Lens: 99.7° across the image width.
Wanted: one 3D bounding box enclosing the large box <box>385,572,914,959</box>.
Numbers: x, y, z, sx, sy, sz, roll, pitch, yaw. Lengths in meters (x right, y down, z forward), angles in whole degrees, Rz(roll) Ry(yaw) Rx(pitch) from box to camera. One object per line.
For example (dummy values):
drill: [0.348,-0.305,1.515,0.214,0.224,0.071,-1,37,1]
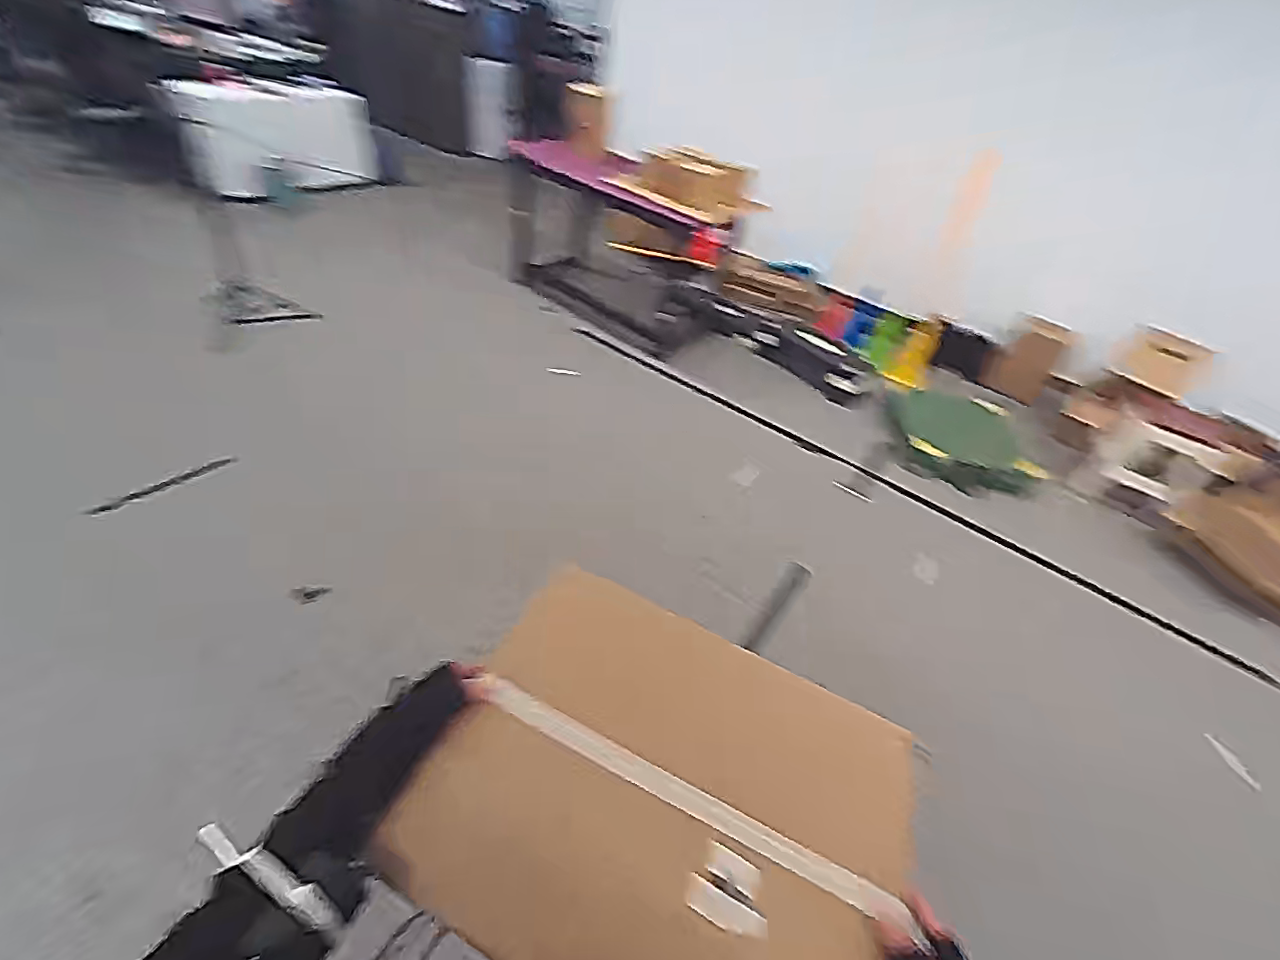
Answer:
large box: [0.014,0.374,0.592,0.408,0.320,0.320,25,49,11]
